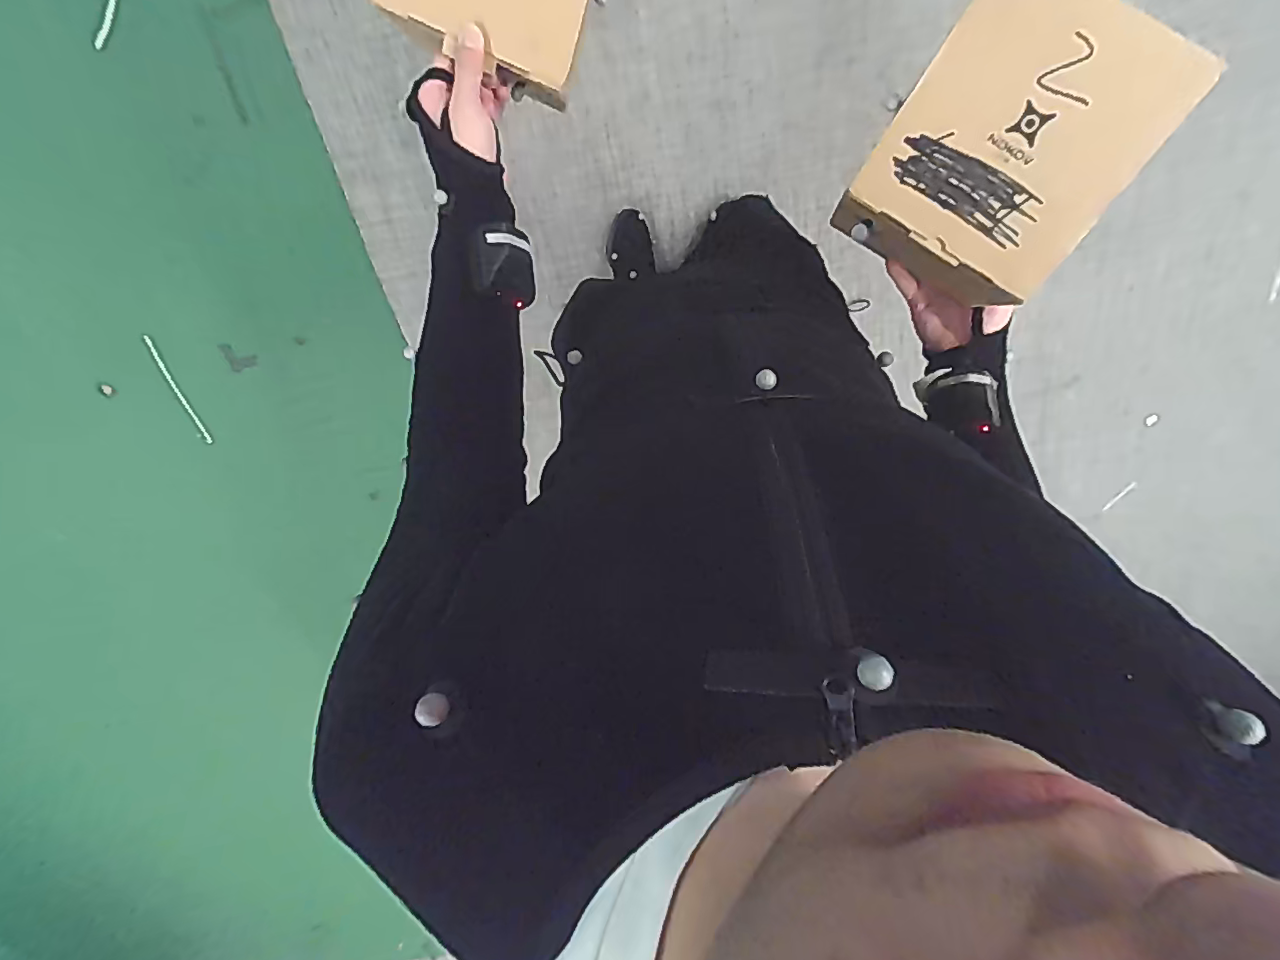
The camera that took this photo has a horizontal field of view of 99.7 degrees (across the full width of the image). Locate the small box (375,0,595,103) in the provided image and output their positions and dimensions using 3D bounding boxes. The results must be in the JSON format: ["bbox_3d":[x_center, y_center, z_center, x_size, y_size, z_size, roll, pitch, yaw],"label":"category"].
[{"bbox_3d":[-0.122,-0.477,0.489,0.168,0.176,0.179,17,114,-15],"label":"small box"}]
